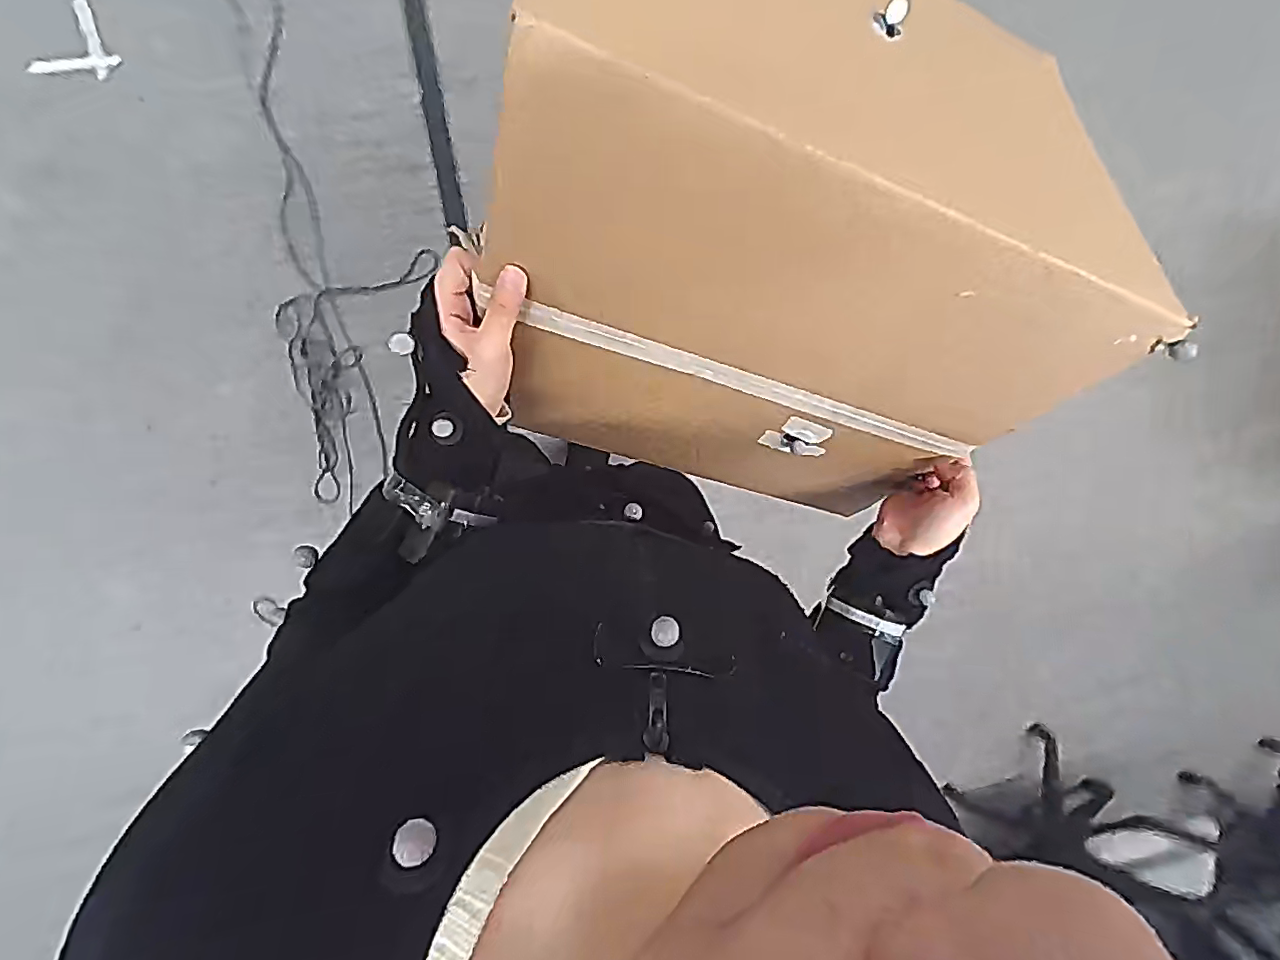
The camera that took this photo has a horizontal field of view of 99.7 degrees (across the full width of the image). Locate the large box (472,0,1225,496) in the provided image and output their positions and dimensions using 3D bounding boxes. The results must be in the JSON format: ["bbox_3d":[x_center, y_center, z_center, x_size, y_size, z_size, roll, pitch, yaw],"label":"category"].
[{"bbox_3d":[0.098,-0.219,0.447,0.408,0.320,0.320,12,62,-15],"label":"large box"}]
